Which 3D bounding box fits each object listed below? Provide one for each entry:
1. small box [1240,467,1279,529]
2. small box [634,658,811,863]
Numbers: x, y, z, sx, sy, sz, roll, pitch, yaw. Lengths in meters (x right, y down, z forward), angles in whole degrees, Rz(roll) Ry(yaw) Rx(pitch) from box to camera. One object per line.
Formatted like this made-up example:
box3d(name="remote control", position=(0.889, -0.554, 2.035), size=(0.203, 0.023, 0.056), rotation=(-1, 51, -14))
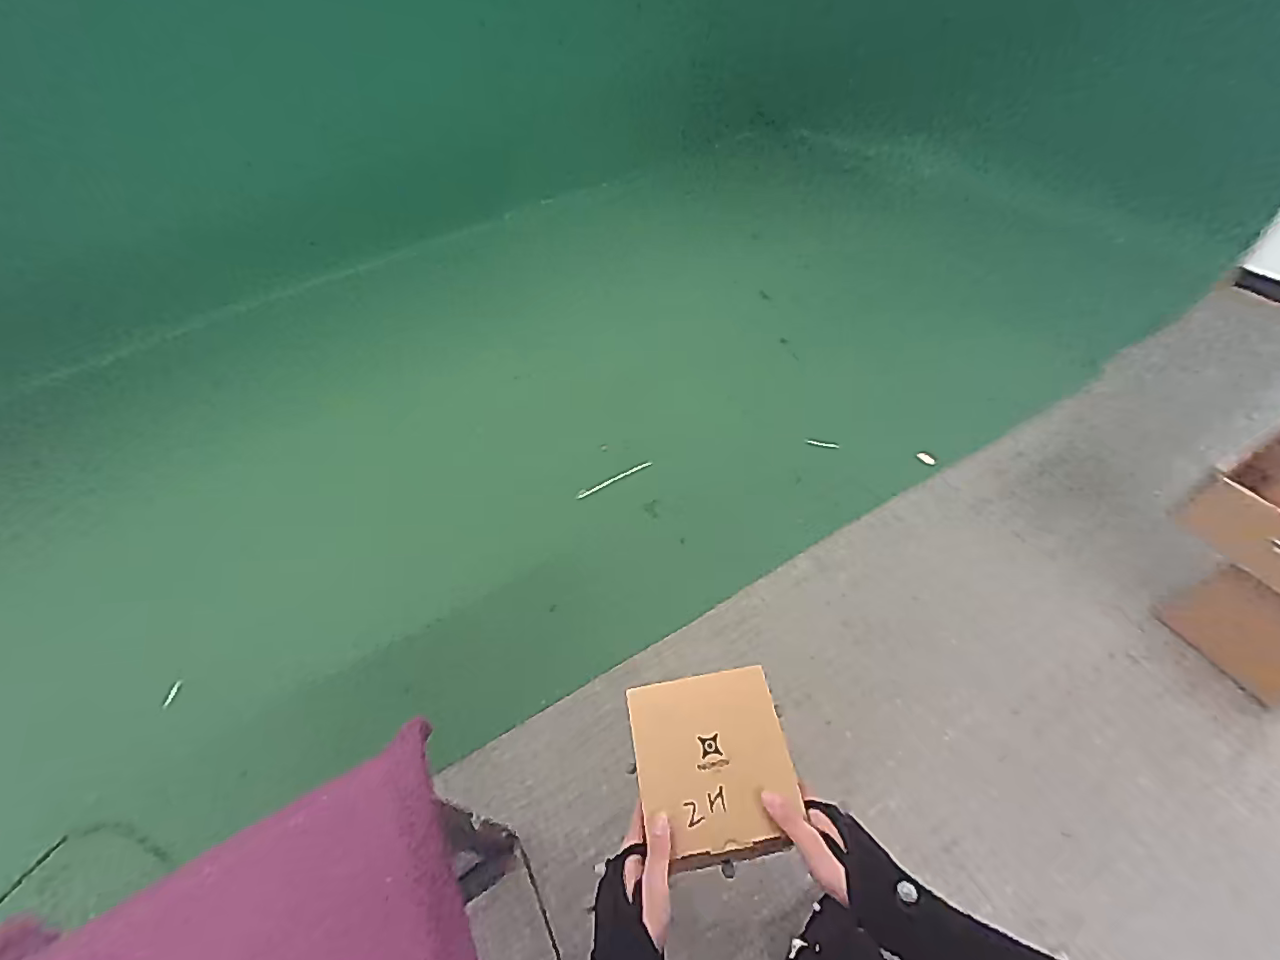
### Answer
box3d(name="small box", position=(1.528, 0.027, 1.203), size=(0.168, 0.176, 0.179), rotation=(-27, 55, -14))
box3d(name="small box", position=(0.087, 0.339, 0.651), size=(0.168, 0.176, 0.179), rotation=(-9, 51, -1))
